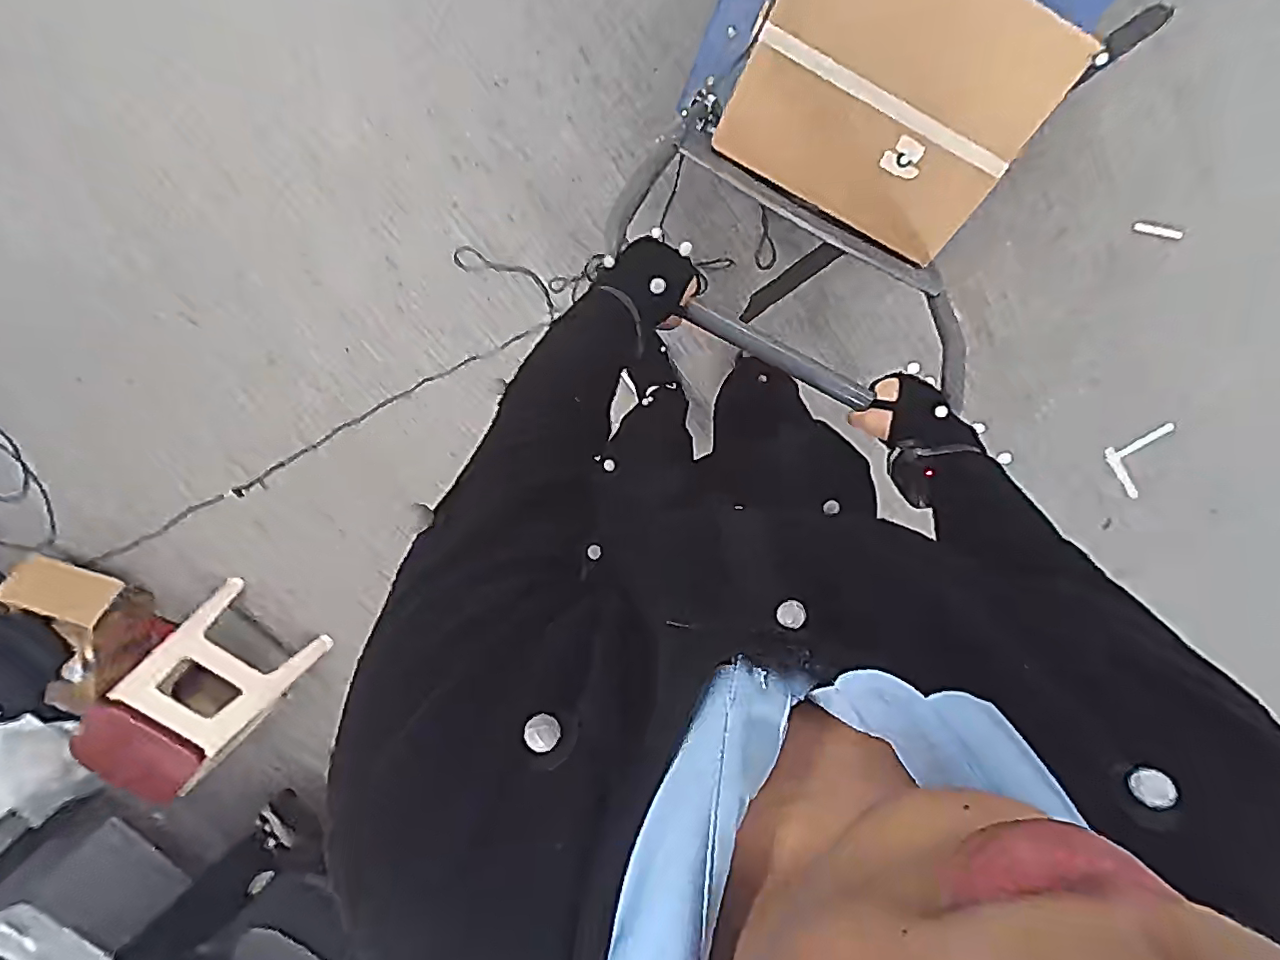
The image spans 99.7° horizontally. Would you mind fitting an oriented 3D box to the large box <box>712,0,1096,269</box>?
[{"bbox_3d":[0.371,-0.615,0.873,0.408,0.320,0.320,25,132,-7],"label":"large box"}]
